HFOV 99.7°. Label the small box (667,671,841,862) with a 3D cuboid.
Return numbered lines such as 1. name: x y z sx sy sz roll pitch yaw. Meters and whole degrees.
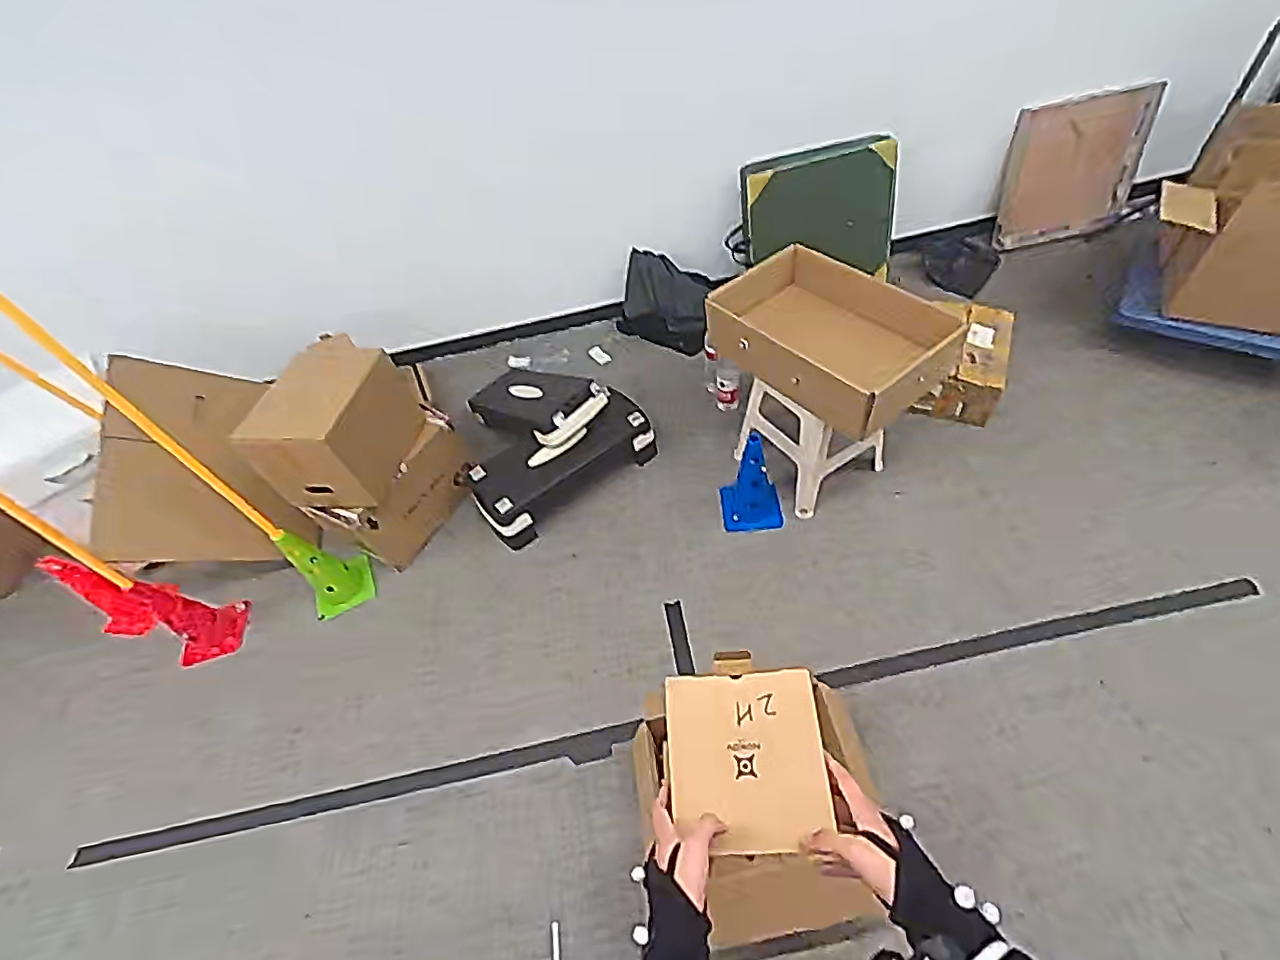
1. small box: 0.125 0.334 0.638 0.168 0.176 0.179 -6 59 6
